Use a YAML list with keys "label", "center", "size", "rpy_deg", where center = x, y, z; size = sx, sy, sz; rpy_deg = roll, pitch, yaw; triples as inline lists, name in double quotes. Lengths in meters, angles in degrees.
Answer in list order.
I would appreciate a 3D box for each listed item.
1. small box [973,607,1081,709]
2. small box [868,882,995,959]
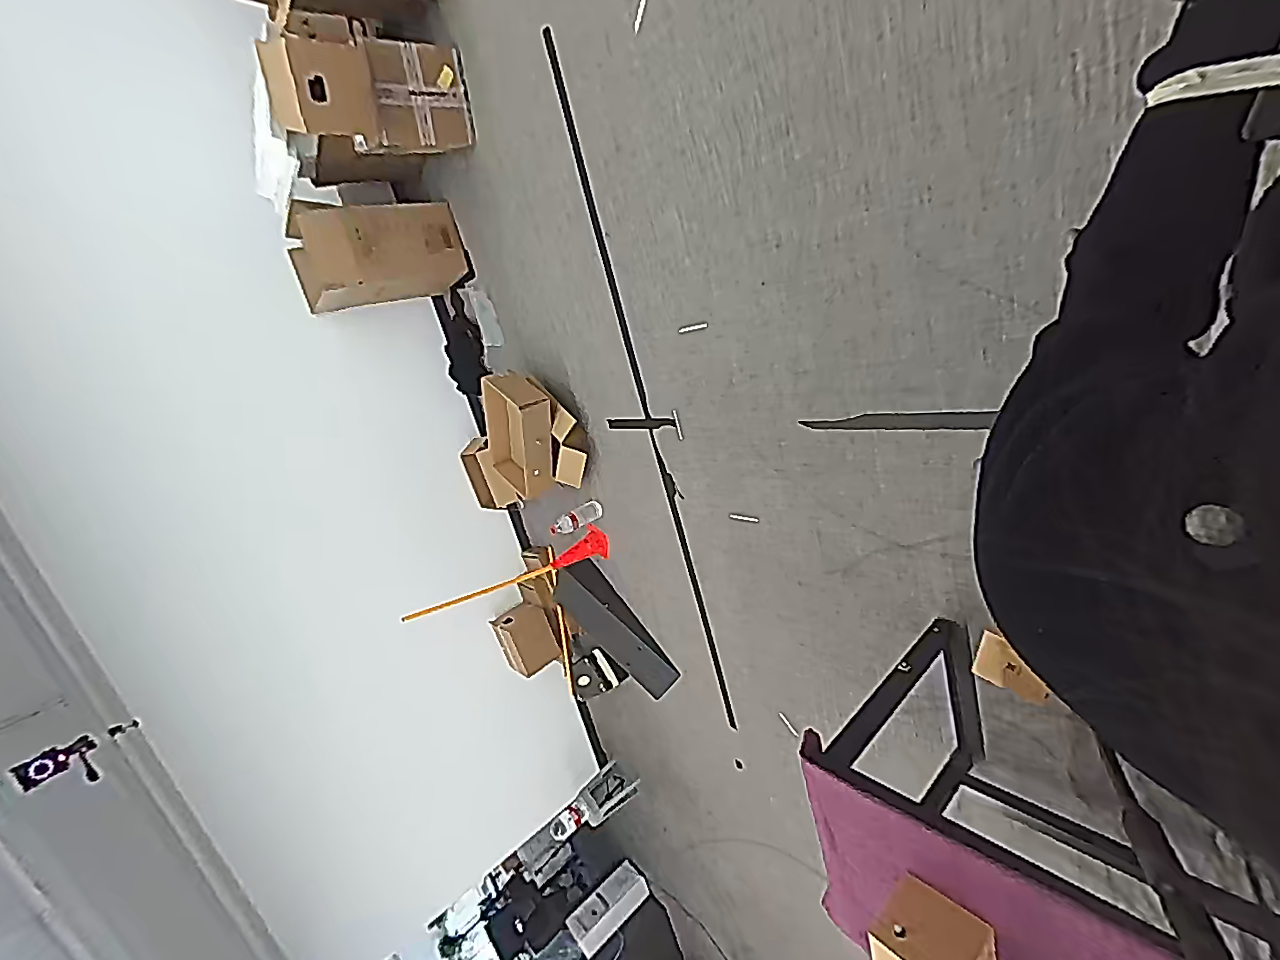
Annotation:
- label: "small box"
  center: [1.053, 0.473, 1.474]
  size: [0.179, 0.176, 0.168]
  rpy_deg: [26, 130, 42]
- label: "small box"
  center: [0.598, 0.979, 1.105]
  size: [0.179, 0.176, 0.168]
  rpy_deg: [8, 119, 51]
